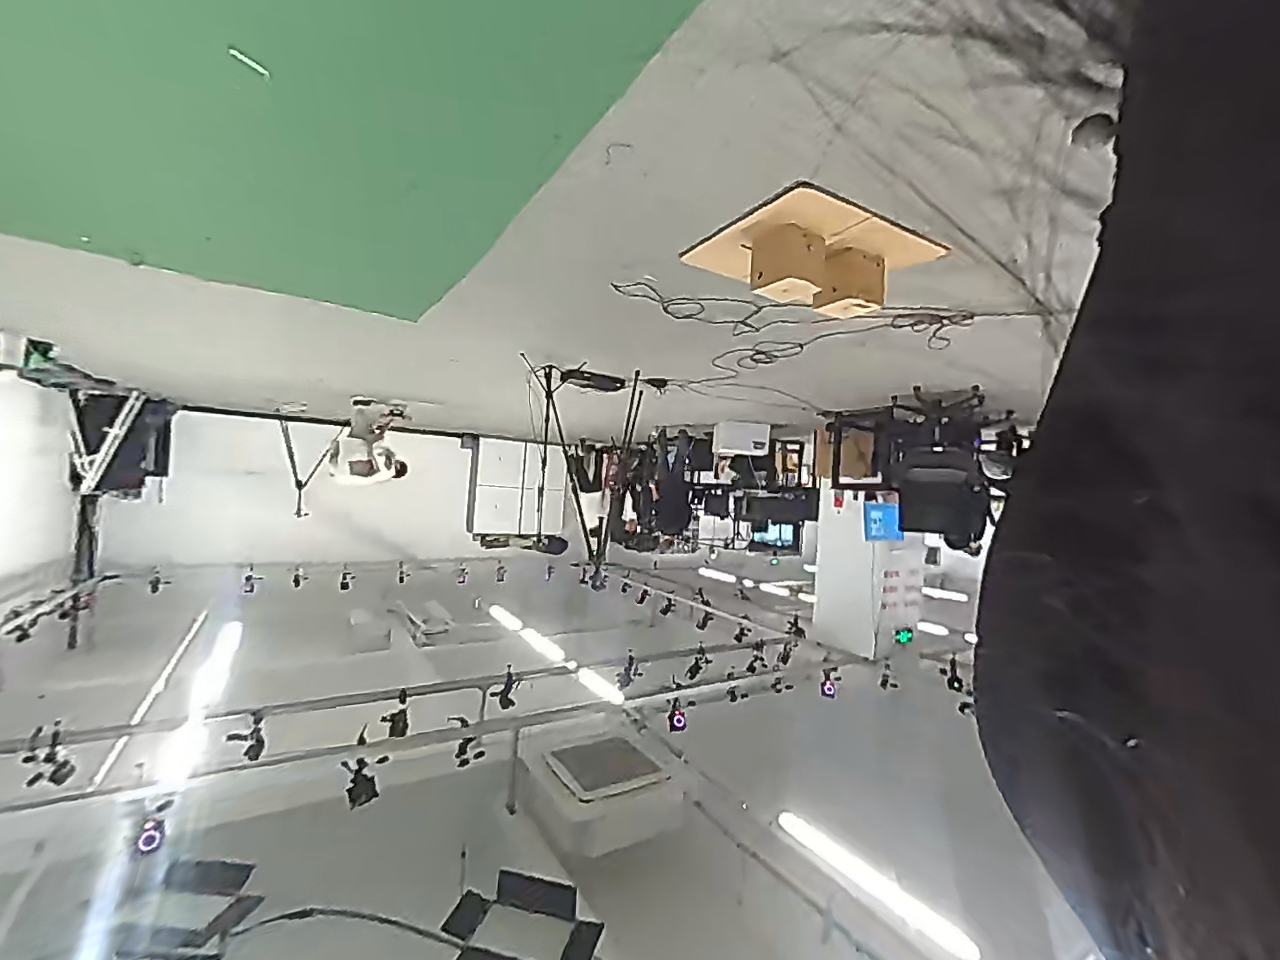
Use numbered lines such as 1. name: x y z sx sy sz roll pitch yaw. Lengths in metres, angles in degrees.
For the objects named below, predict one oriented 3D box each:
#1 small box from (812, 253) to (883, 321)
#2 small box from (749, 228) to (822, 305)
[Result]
1. small box: 0.733 -0.680 1.912 0.168 0.176 0.179 4 179 -28
2. small box: 0.484 -0.701 1.785 0.168 0.176 0.179 3 178 -35
